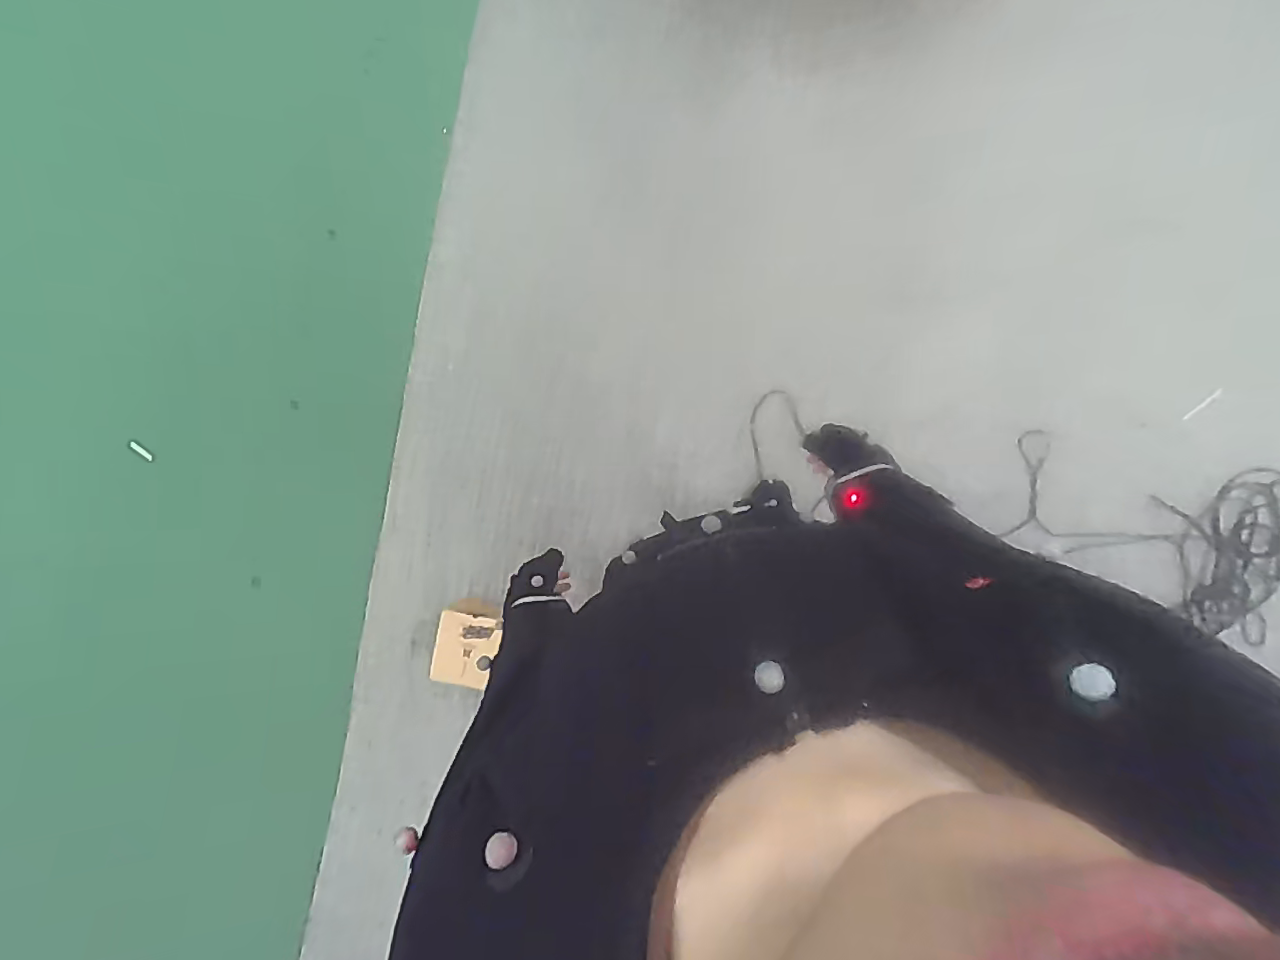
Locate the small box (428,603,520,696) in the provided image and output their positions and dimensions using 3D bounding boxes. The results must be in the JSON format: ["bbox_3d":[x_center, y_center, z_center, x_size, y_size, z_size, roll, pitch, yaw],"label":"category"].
[{"bbox_3d":[-0.415,0.423,1.381,0.168,0.176,0.179,11,87,0],"label":"small box"}]
